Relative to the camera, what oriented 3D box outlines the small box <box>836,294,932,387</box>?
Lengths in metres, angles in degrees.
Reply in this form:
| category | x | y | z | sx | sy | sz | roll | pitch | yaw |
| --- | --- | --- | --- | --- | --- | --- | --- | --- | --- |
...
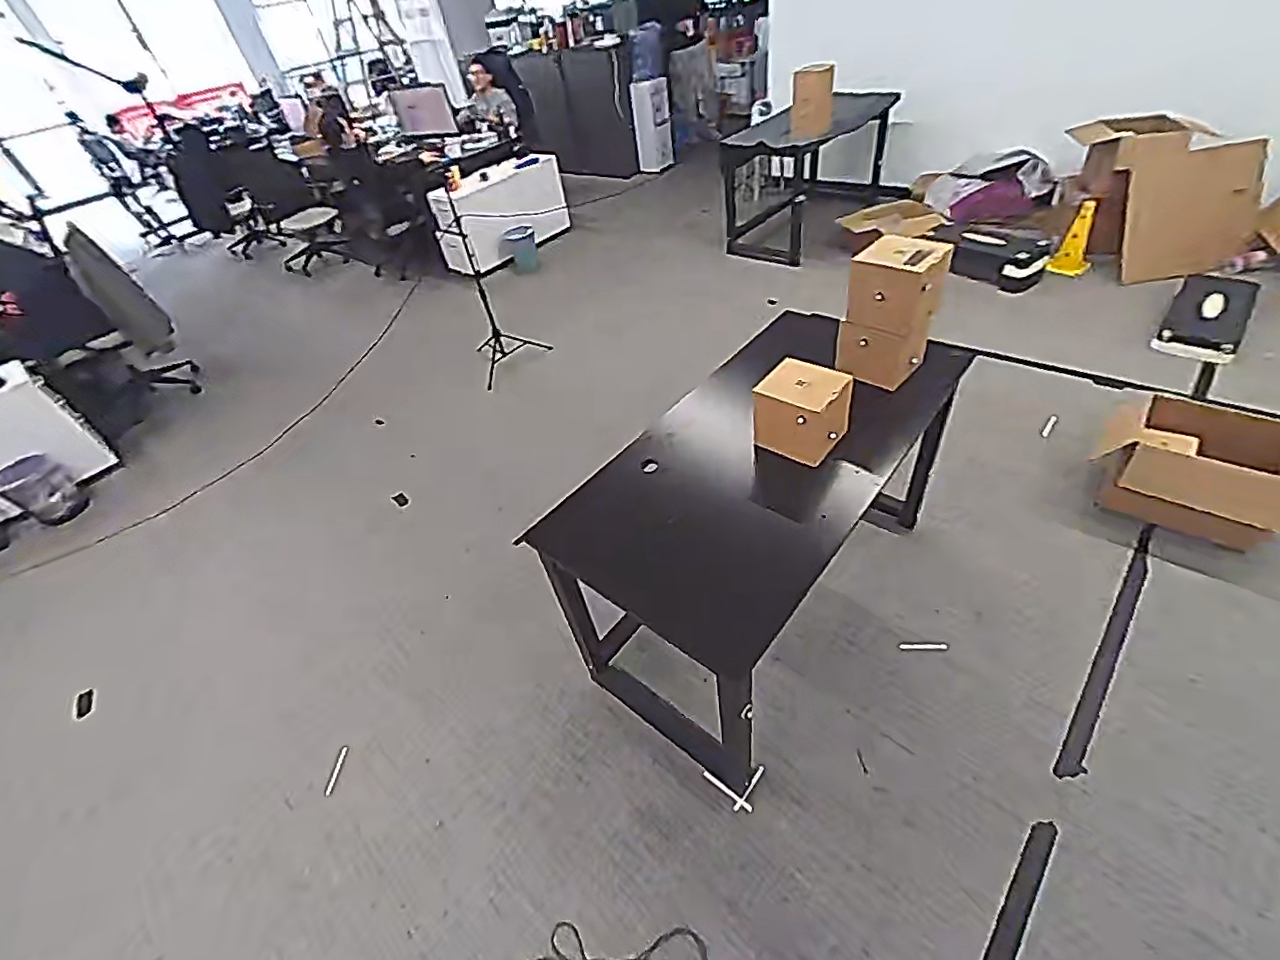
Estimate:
| category | x | y | z | sx | sy | sz | roll | pitch | yaw |
| --- | --- | --- | --- | --- | --- | --- | --- | --- | --- |
| small box | 0.656 | -0.378 | 1.472 | 0.168 | 0.176 | 0.179 | -39 | 50 | -25 |

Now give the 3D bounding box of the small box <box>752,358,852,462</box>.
| category | x | y | z | sx | sy | sz | roll | pitch | yaw |
| --- | --- | --- | --- | --- | --- | --- | --- | --- | --- |
| small box | 0.390 | -0.169 | 1.318 | 0.179 | 0.176 | 0.168 | 26 | 55 | 33 |
